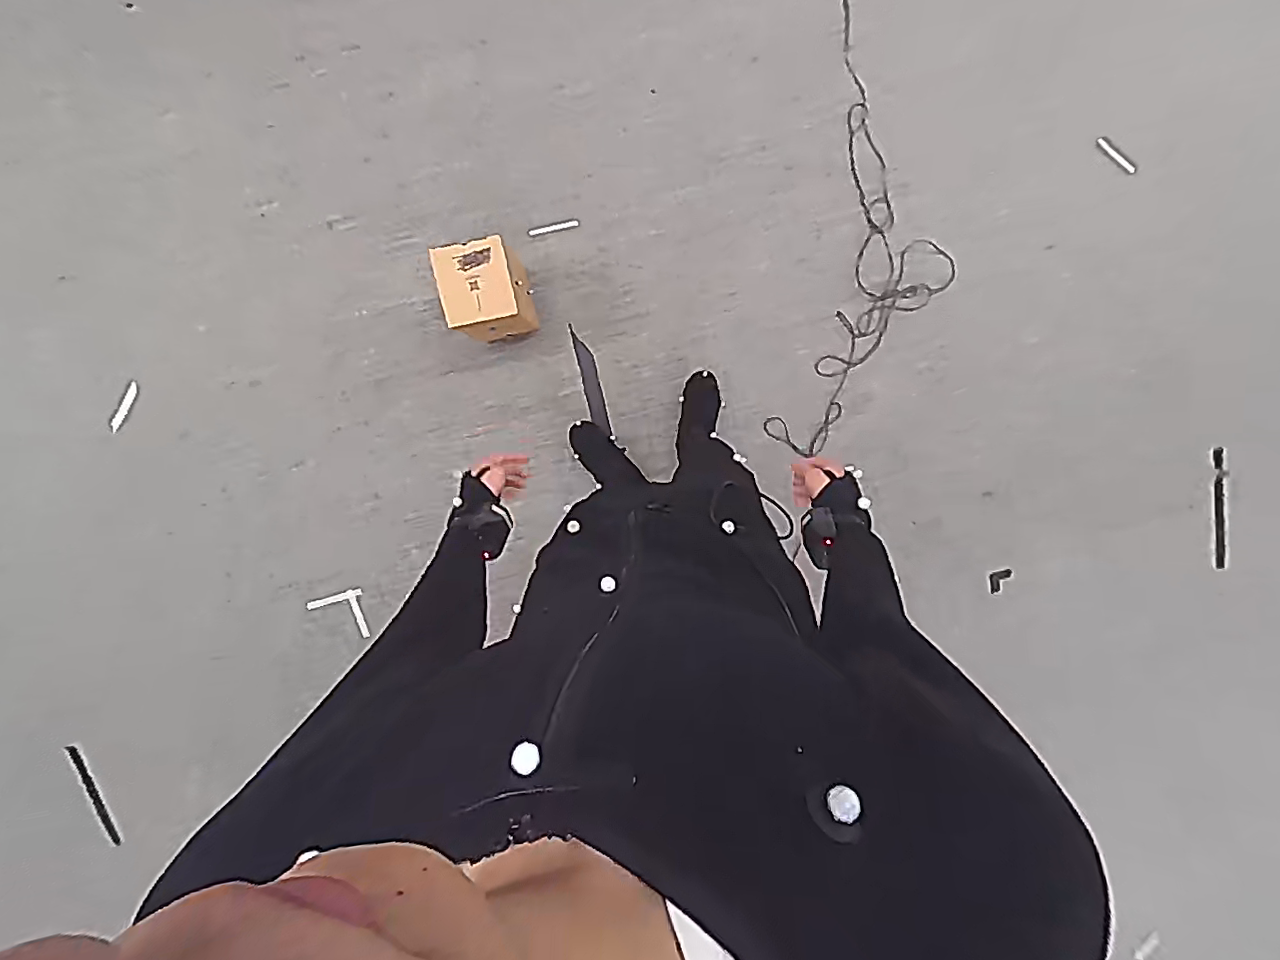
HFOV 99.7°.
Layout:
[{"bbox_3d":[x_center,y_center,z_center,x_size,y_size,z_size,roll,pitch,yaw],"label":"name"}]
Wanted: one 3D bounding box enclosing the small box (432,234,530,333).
[{"bbox_3d":[-0.370,-0.459,1.287,0.168,0.176,0.179,-11,100,0],"label":"small box"}]
